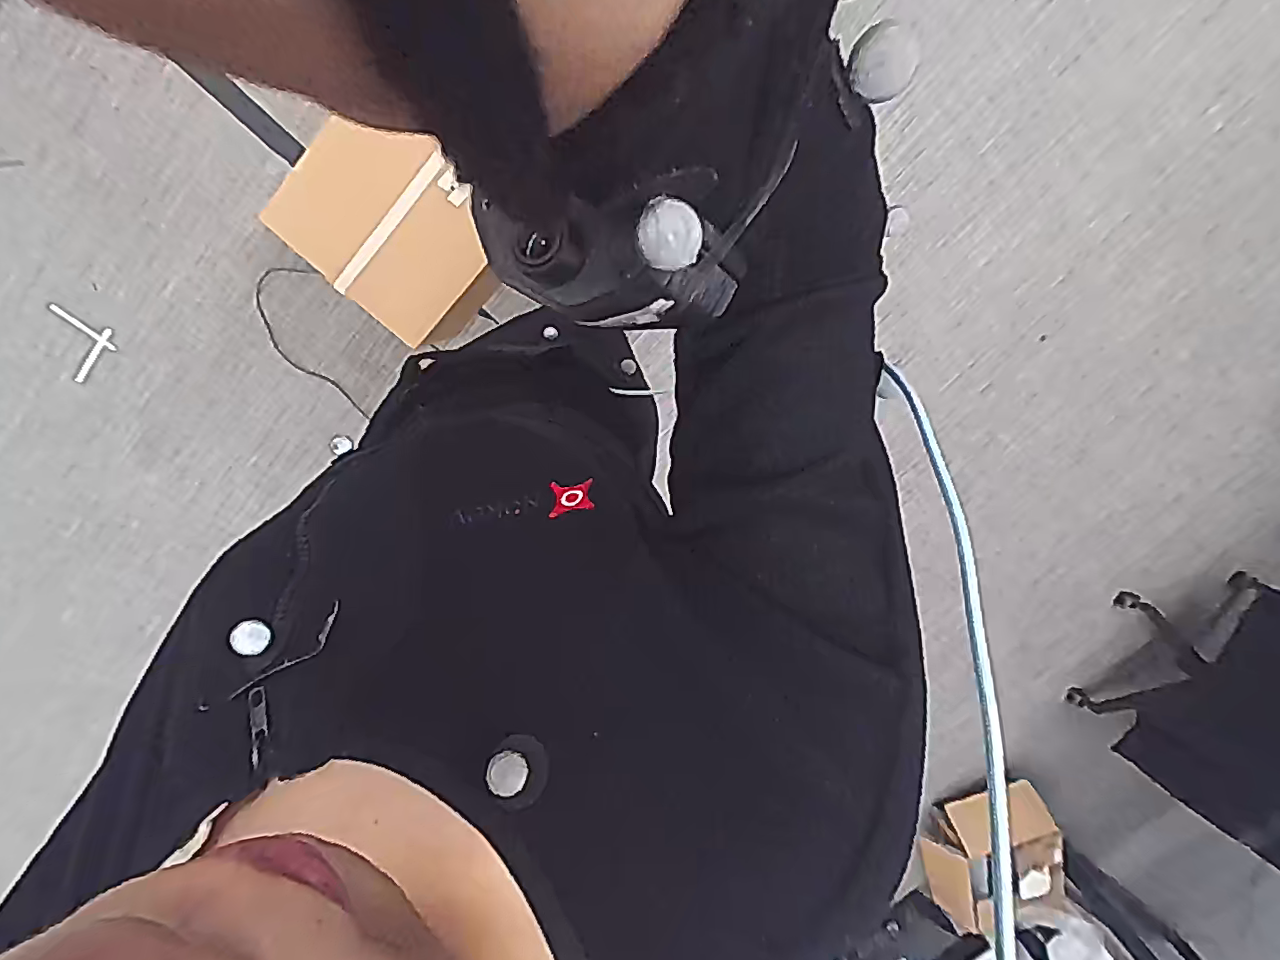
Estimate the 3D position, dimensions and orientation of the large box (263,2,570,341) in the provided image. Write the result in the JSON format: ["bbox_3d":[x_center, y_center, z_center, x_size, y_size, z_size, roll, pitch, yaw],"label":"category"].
[{"bbox_3d":[-0.378,-0.519,1.015,0.320,0.320,0.408,42,100,-17],"label":"large box"}]
